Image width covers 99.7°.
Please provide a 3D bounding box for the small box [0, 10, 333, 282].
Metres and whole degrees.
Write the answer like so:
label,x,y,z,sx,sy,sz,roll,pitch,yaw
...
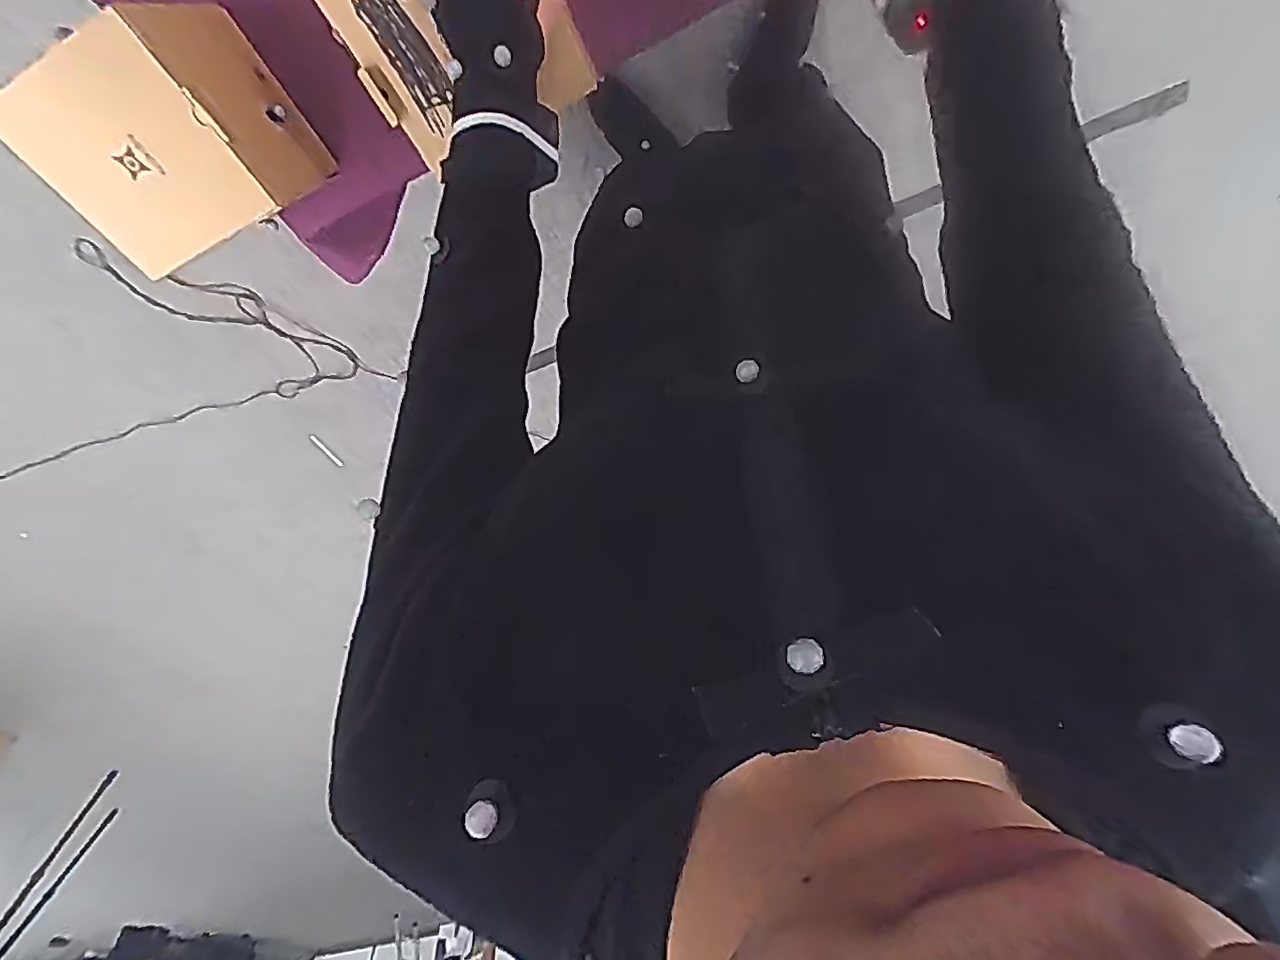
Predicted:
label,x,y,z,sx,sy,sz,roll,pitch,yaw
small box,-0.464,-0.340,0.559,0.179,0.176,0.168,-22,128,12
